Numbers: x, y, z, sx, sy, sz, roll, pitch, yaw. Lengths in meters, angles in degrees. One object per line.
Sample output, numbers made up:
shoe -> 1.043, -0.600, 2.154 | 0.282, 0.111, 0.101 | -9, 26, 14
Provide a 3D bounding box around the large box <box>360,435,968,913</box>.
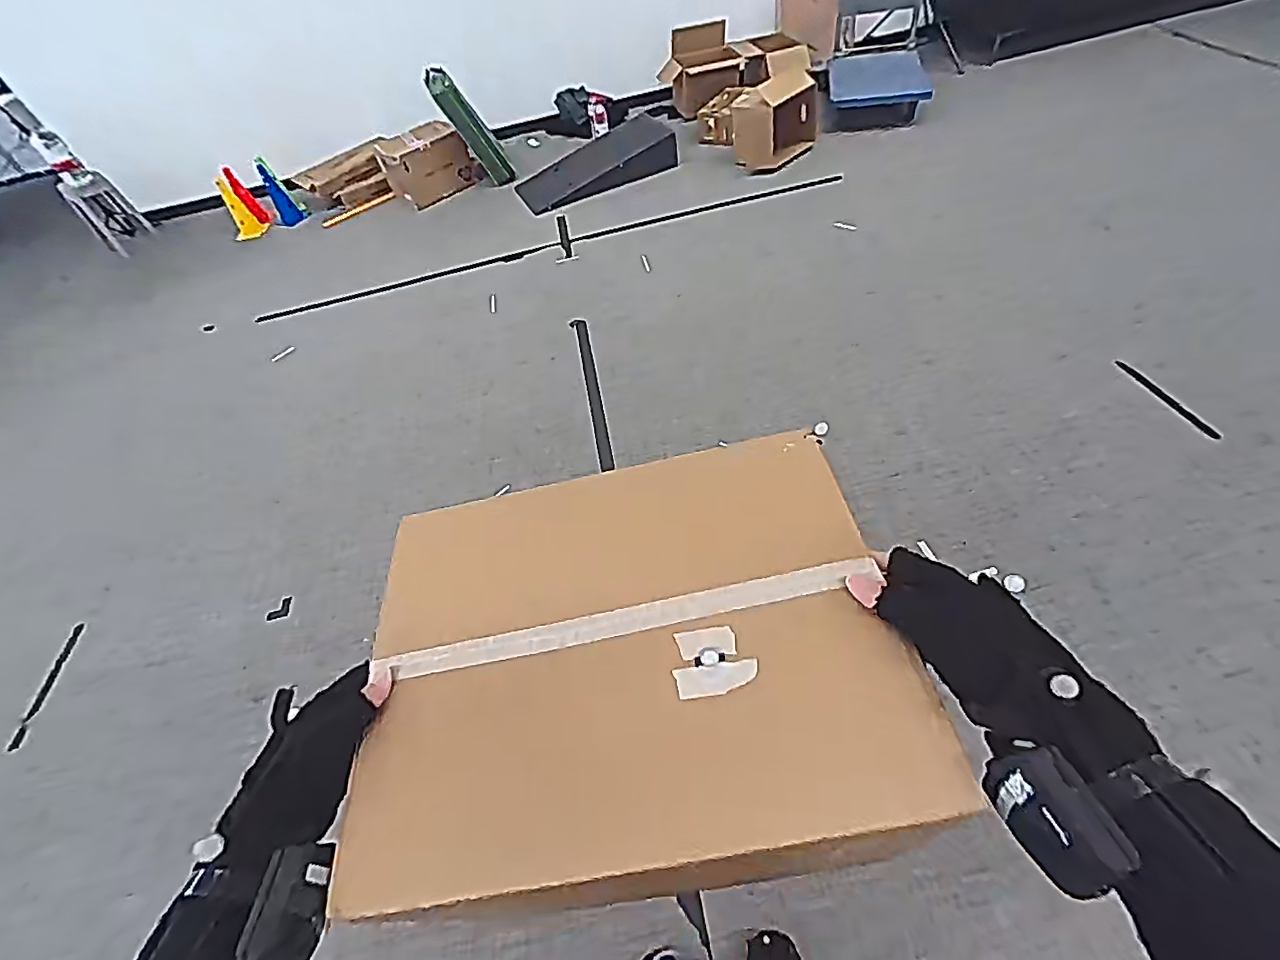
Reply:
large box -> 0.016, 0.207, 0.547 | 0.408, 0.320, 0.320 | -12, 50, 3
